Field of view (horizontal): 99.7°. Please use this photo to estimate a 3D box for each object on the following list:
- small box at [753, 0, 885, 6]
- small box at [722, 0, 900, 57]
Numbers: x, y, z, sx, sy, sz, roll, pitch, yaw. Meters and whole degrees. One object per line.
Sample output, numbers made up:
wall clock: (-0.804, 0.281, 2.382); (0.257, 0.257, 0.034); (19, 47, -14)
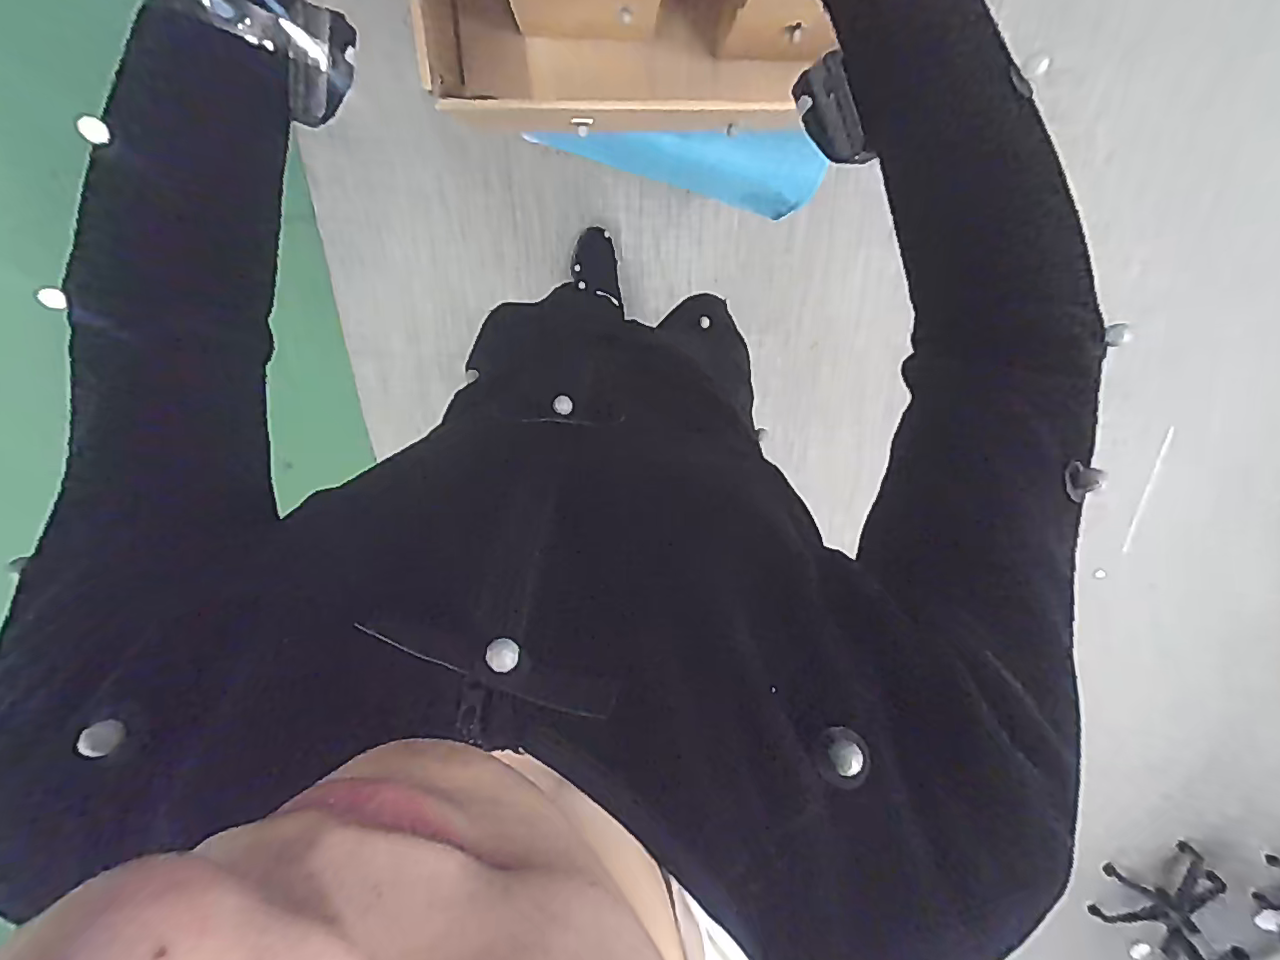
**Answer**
small box: (0.200, -0.554, 0.475); (0.179, 0.176, 0.168); (-1, 113, 0)
small box: (0.195, -0.617, 0.627); (0.179, 0.176, 0.168); (0, 113, -1)
